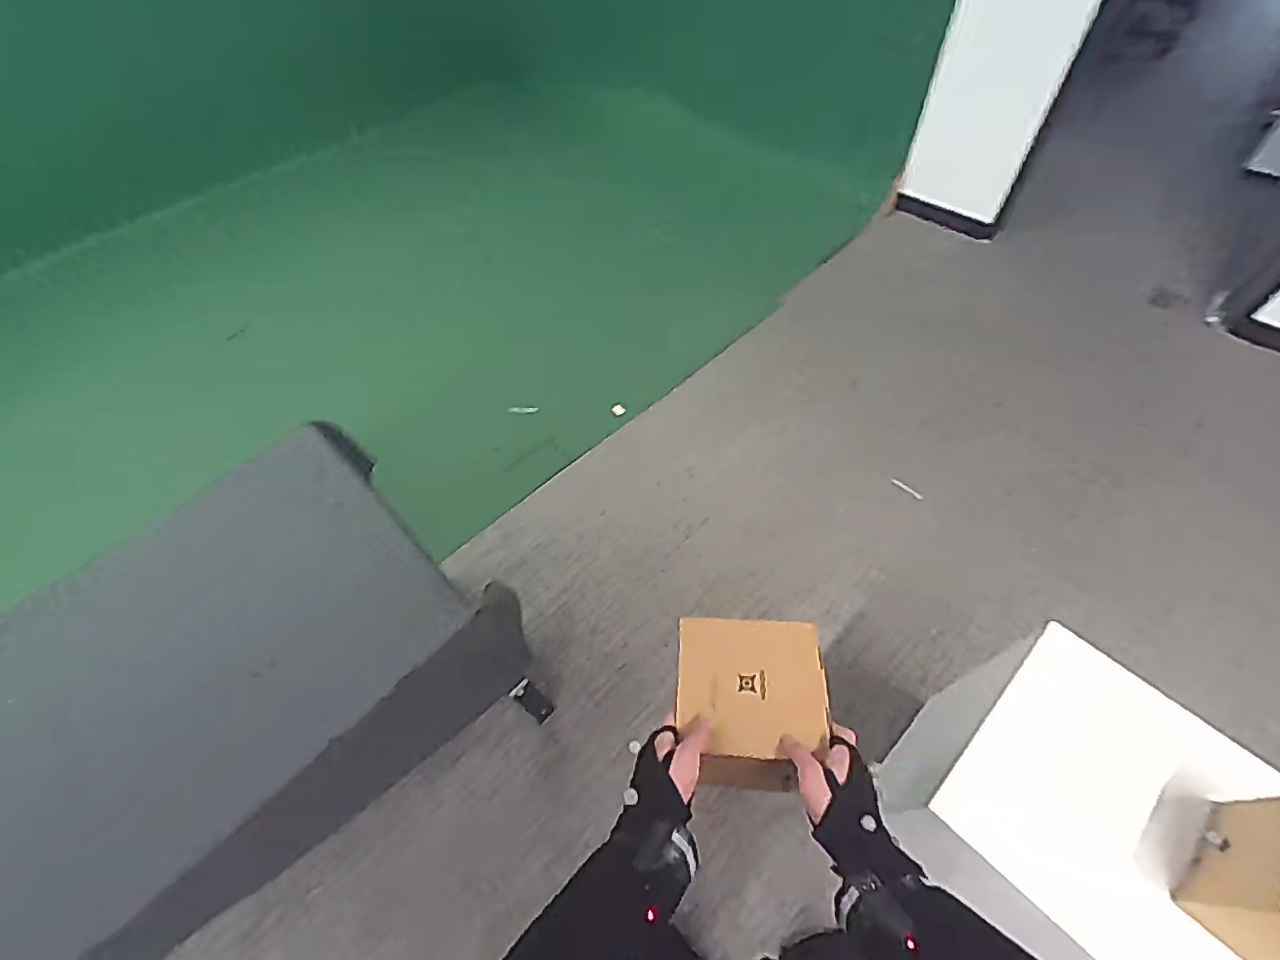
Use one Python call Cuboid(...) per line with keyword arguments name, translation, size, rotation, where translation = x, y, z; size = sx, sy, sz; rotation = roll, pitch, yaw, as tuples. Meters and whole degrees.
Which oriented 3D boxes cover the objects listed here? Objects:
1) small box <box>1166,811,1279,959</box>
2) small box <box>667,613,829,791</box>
Cuboid(name="small box", translation=(0.797, 0.515, 0.632), size=(0.168, 0.176, 0.179), rotation=(-38, 61, -22))
Cuboid(name="small box", translation=(0.127, 0.286, 0.692), size=(0.179, 0.176, 0.168), rotation=(0, 48, 6))
